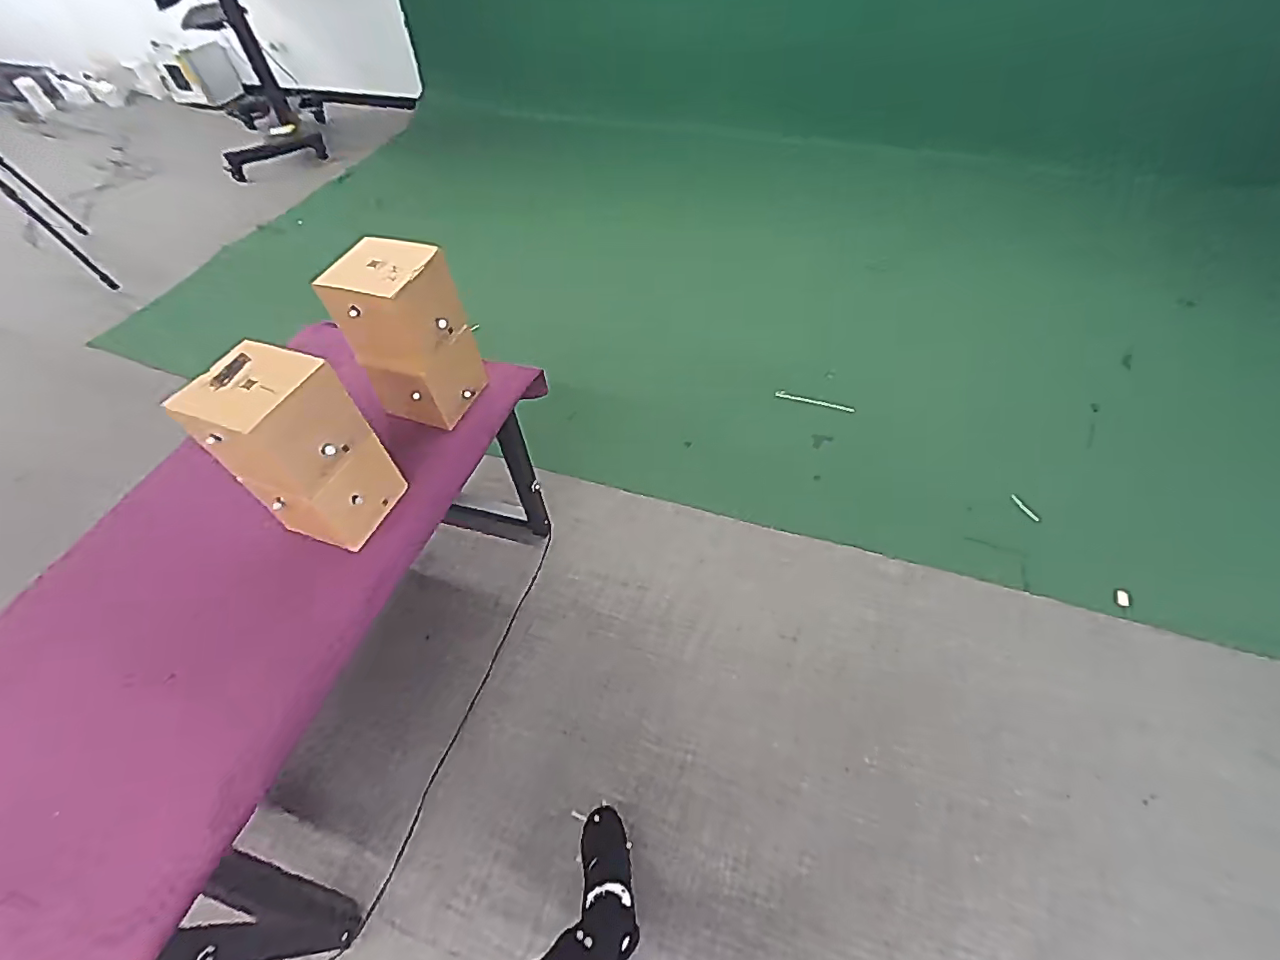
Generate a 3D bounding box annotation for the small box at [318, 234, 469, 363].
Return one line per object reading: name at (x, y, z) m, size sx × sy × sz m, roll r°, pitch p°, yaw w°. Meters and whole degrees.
small box at (-0.471, -0.354, 1.062) m, size 0.179 × 0.176 × 0.168 m, roll 15°, pitch 57°, yaw 14°

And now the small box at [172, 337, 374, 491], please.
small box at (-0.584, -0.105, 0.886) m, size 0.179 × 0.176 × 0.168 m, roll 16°, pitch 56°, yaw 15°

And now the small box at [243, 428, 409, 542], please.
small box at (-0.573, -0.004, 1.016) m, size 0.179 × 0.176 × 0.168 m, roll 15°, pitch 56°, yaw 16°
